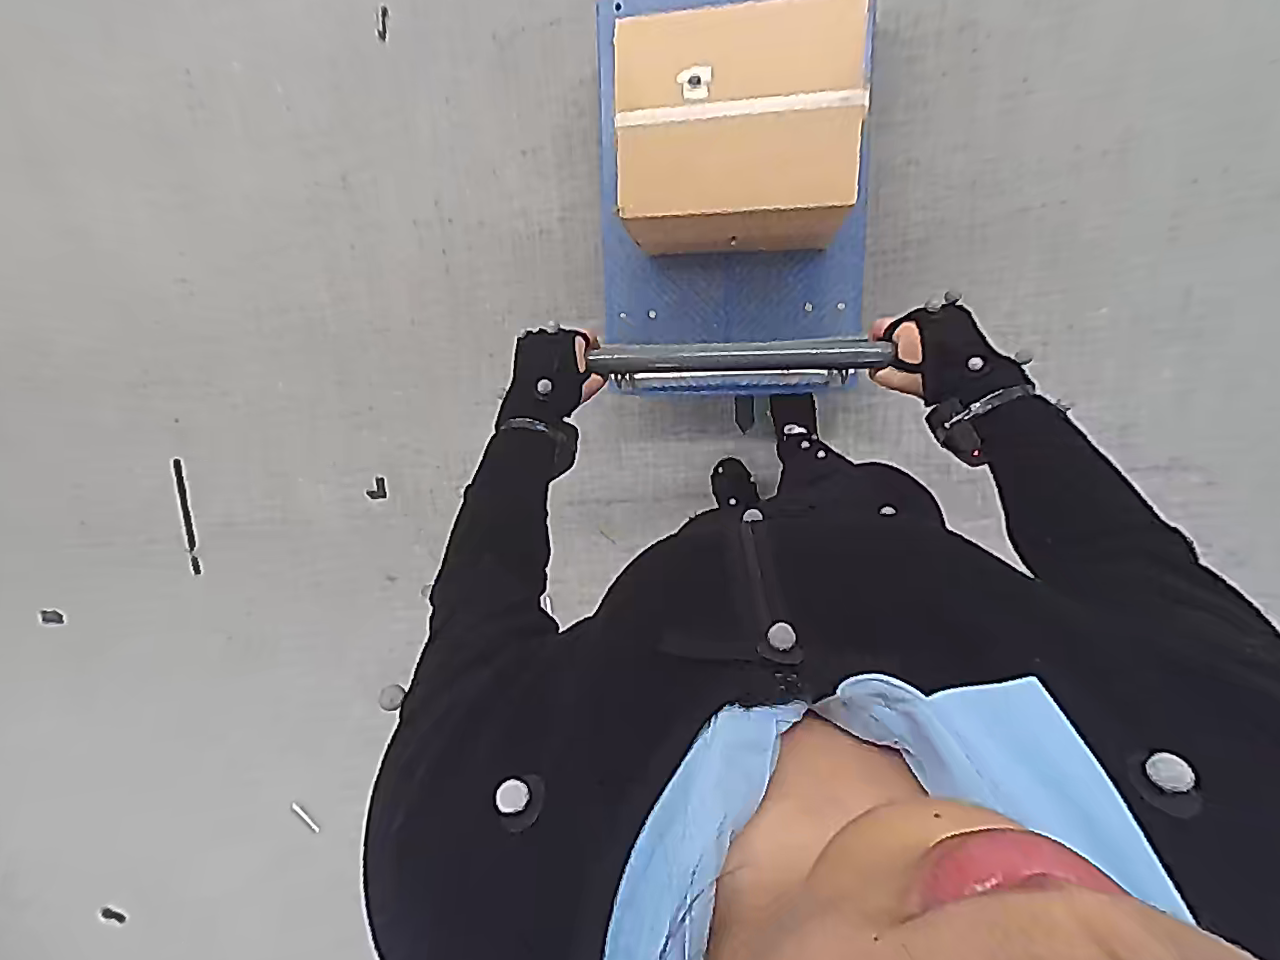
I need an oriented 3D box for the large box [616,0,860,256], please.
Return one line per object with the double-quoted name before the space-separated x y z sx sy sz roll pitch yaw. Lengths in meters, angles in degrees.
"large box" 0.186 -0.639 1.054 0.408 0.320 0.320 1 100 11
